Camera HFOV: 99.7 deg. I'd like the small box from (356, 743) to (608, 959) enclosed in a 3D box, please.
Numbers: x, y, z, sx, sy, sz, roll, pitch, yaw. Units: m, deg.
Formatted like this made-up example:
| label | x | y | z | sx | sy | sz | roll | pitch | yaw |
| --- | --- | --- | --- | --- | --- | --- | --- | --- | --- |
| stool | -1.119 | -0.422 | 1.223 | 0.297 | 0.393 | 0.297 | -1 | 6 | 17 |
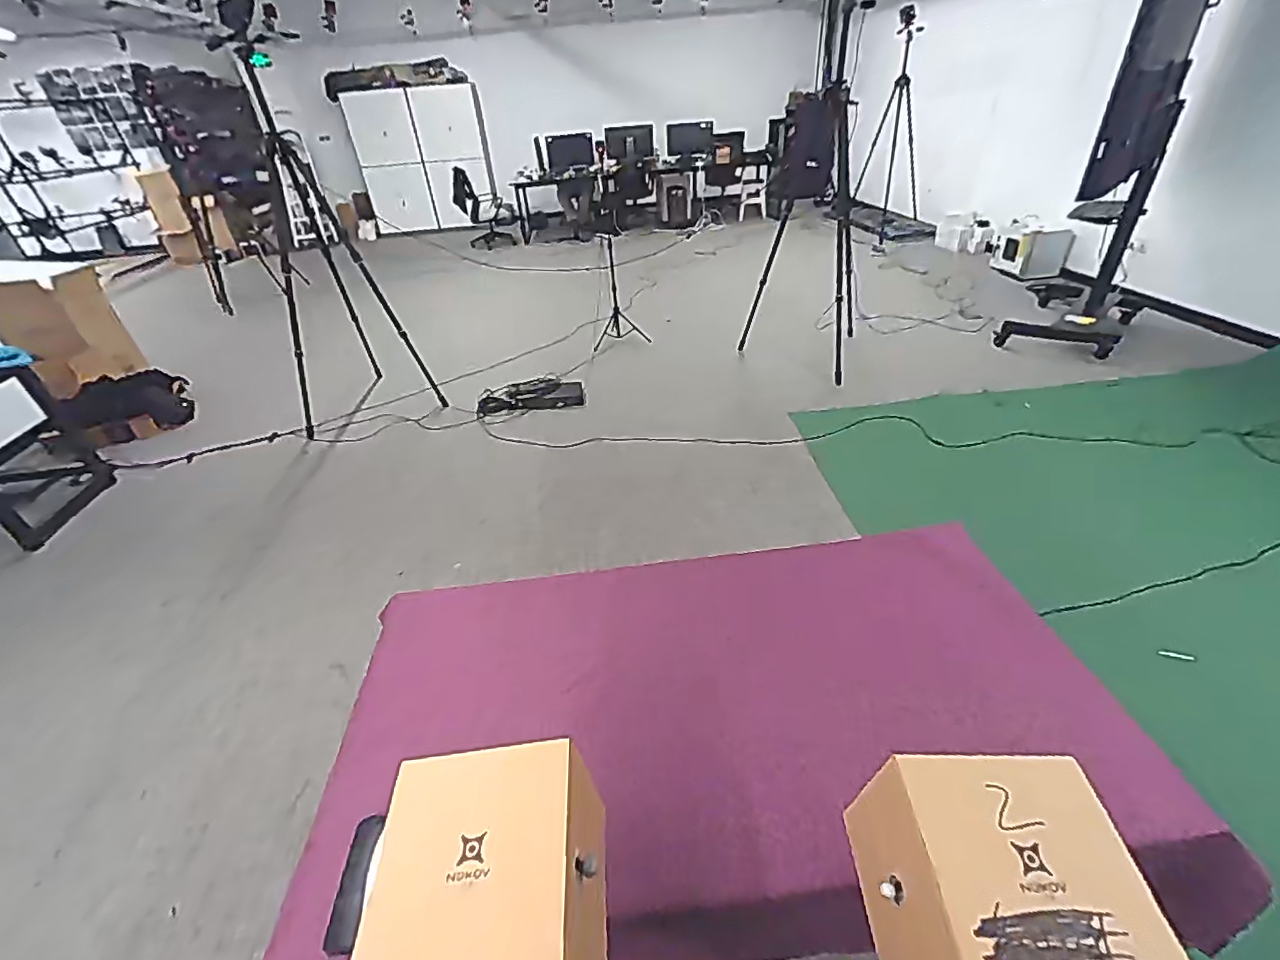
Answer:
| label | x | y | z | sx | sy | sz | roll | pitch | yaw |
| --- | --- | --- | --- | --- | --- | --- | --- | --- | --- |
| small box | -0.125 | 0.373 | 0.495 | 0.168 | 0.176 | 0.179 | -9 | 40 | 2 |
